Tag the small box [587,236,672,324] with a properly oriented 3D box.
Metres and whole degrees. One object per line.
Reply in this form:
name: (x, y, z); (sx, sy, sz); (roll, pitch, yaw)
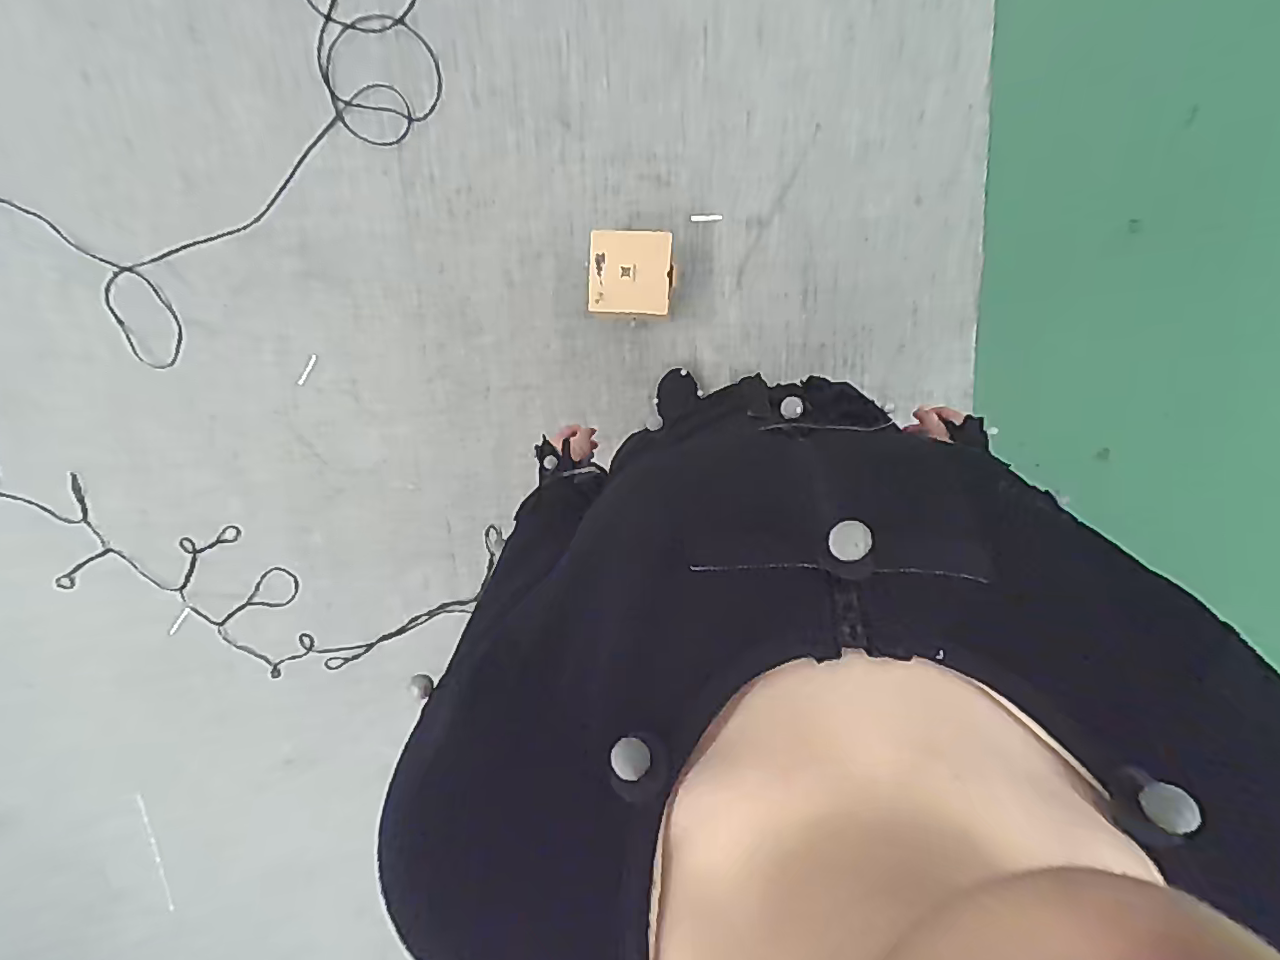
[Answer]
small box: (-0.018, -0.445, 1.223); (0.179, 0.176, 0.168); (4, 102, 5)
